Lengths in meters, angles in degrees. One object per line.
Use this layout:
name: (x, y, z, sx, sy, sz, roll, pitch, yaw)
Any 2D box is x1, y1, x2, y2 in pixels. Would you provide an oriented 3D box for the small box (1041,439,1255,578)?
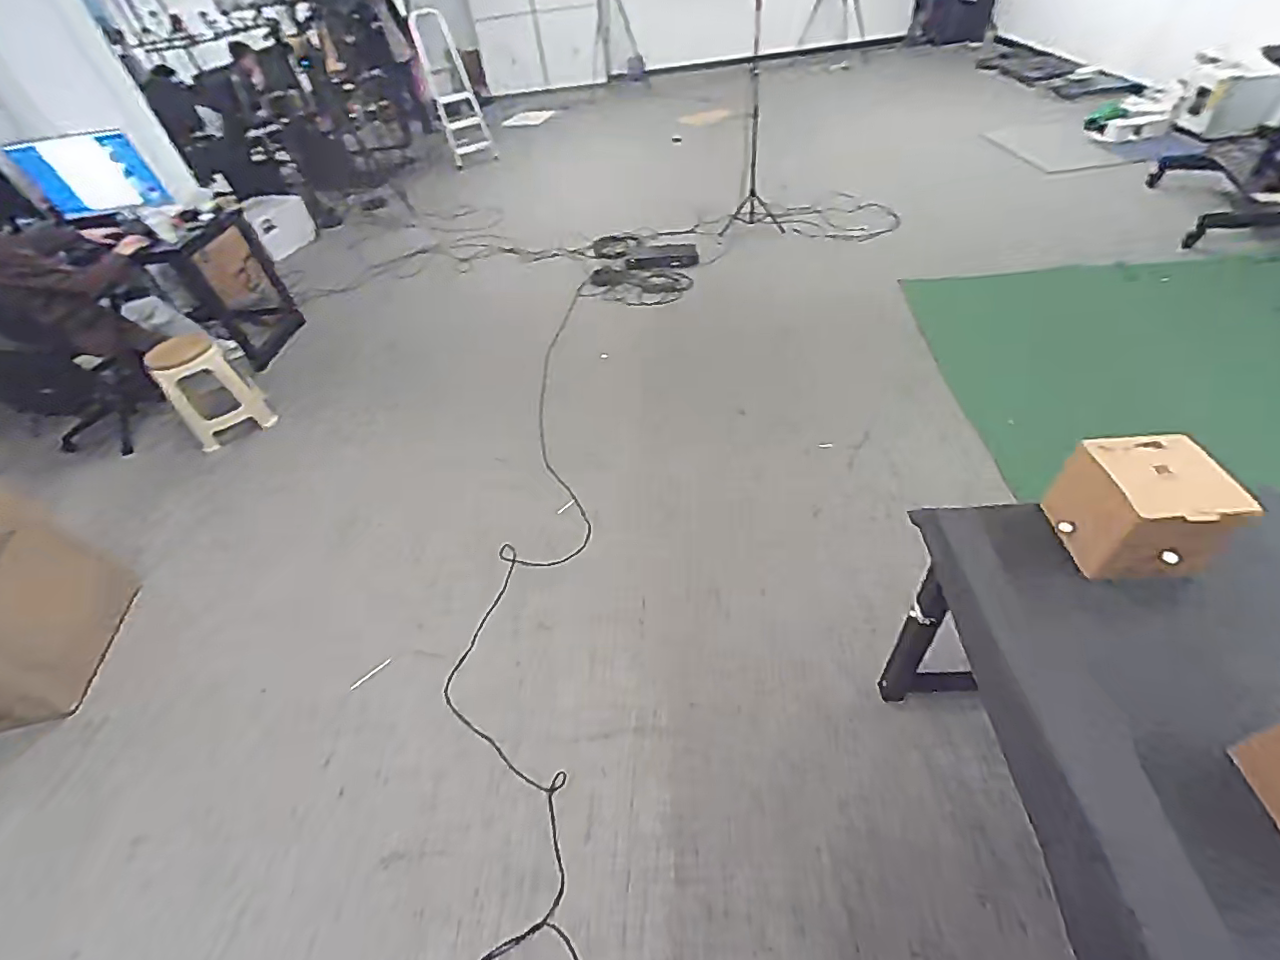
small box: (0.831, 0.052, 0.911, 0.168, 0.176, 0.179, -1, 47, 5)
